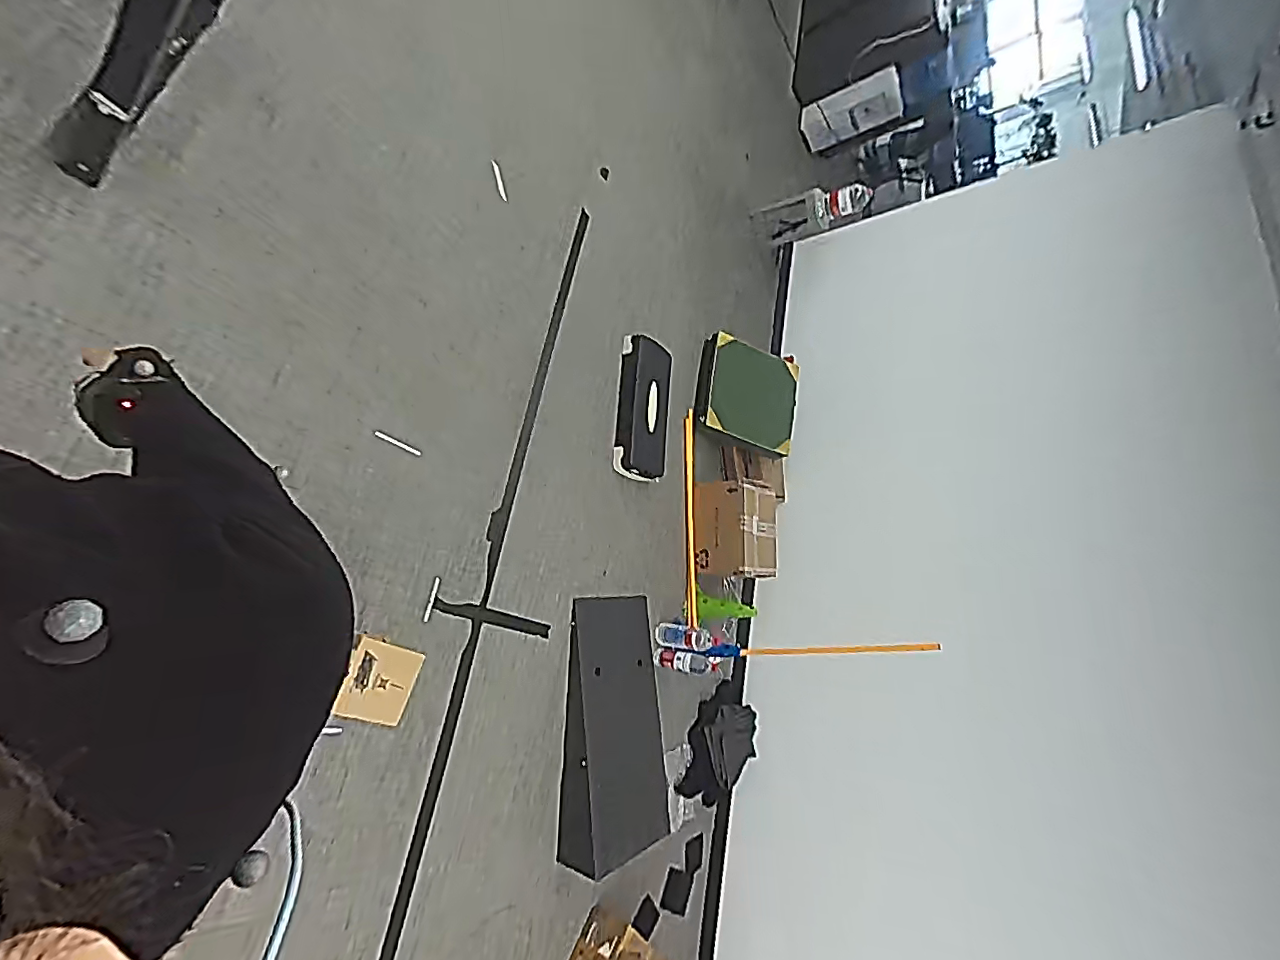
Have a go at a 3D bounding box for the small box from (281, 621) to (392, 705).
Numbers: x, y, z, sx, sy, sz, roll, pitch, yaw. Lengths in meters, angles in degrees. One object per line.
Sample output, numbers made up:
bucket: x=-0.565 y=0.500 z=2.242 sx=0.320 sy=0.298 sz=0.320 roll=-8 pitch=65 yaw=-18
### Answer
small box: x=-0.774 y=0.470 z=1.373 sx=0.168 sy=0.176 sz=0.179 roll=36 pitch=60 yaw=-46

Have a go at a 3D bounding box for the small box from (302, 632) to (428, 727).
small box: x=-0.647 y=0.463 z=1.268 sx=0.179 sy=0.176 sz=0.168 roll=42 pitch=55 yaw=-44
